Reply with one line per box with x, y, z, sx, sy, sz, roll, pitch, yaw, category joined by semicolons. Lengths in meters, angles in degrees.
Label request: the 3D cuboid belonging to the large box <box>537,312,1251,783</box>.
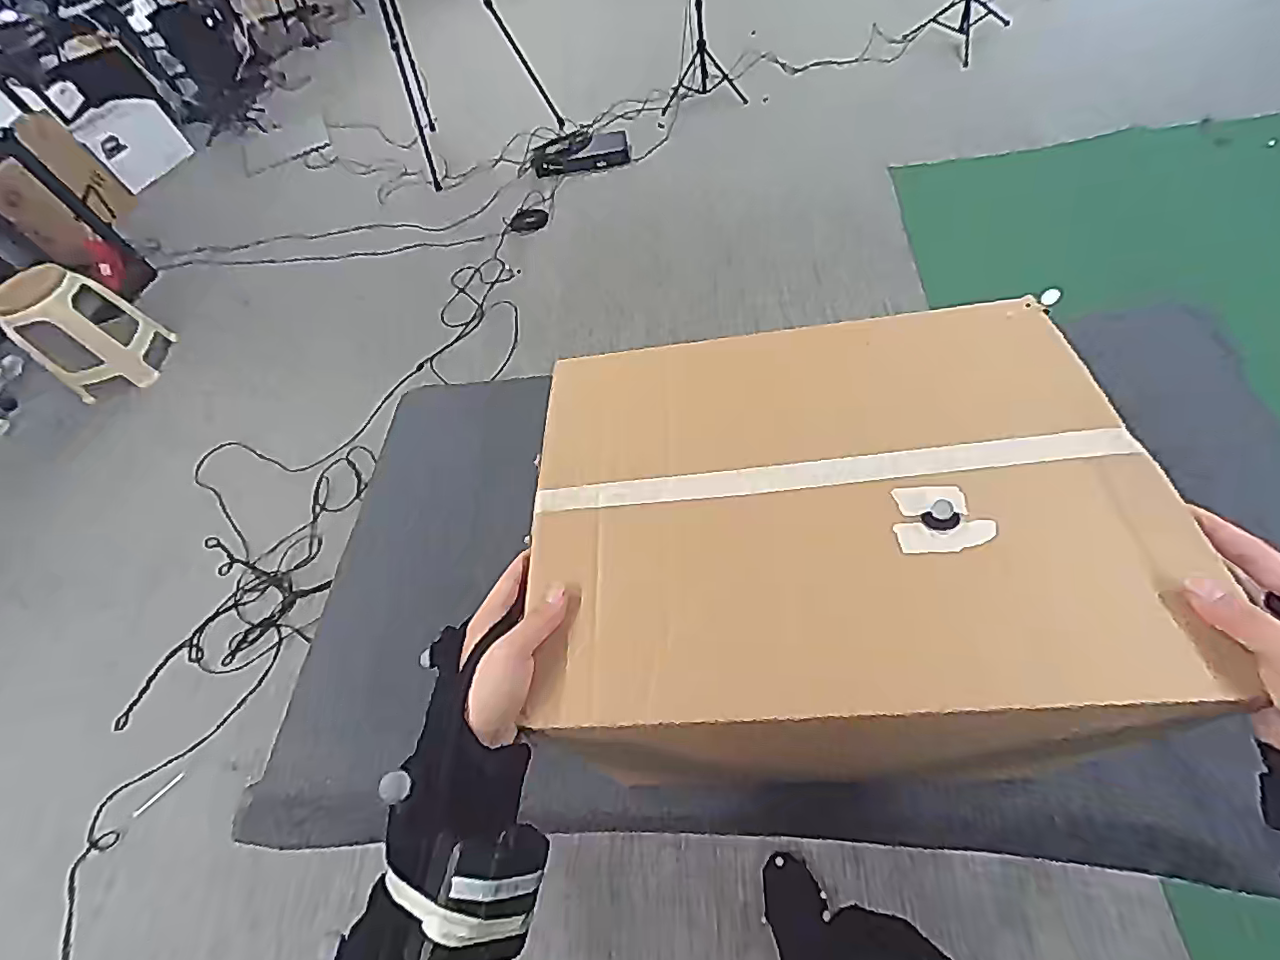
0.148;0.086;0.512;0.408;0.320;0.320;-6;55;7;large box
